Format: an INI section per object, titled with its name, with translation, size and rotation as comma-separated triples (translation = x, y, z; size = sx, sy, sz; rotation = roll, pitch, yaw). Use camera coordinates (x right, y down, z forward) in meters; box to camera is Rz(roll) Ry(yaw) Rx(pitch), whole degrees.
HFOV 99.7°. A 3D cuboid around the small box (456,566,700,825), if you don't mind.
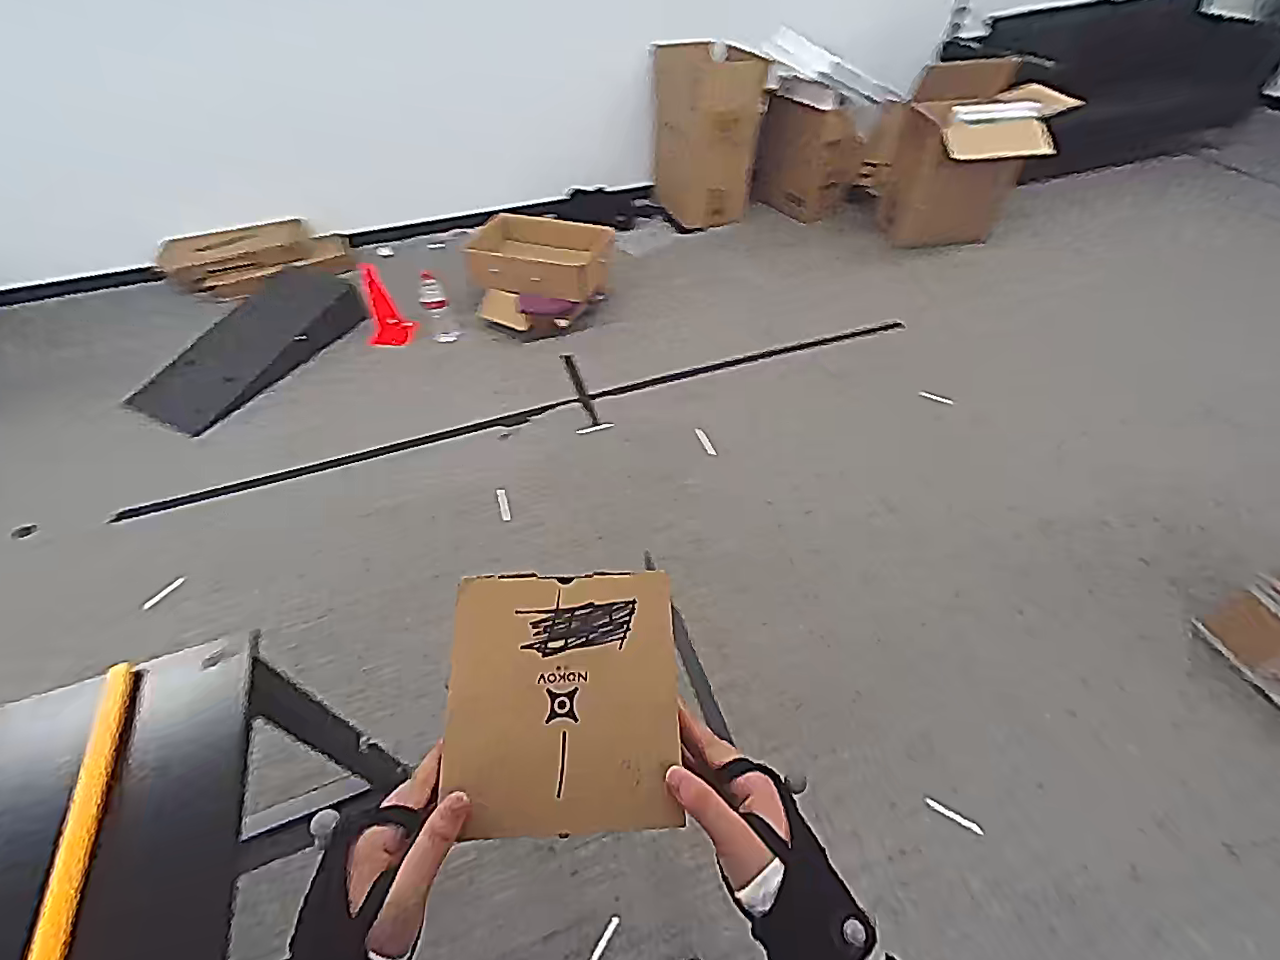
[small box]
translation = -0.046, 0.183, 0.466
size = 0.168, 0.176, 0.179
rotation = -1, 65, -3
